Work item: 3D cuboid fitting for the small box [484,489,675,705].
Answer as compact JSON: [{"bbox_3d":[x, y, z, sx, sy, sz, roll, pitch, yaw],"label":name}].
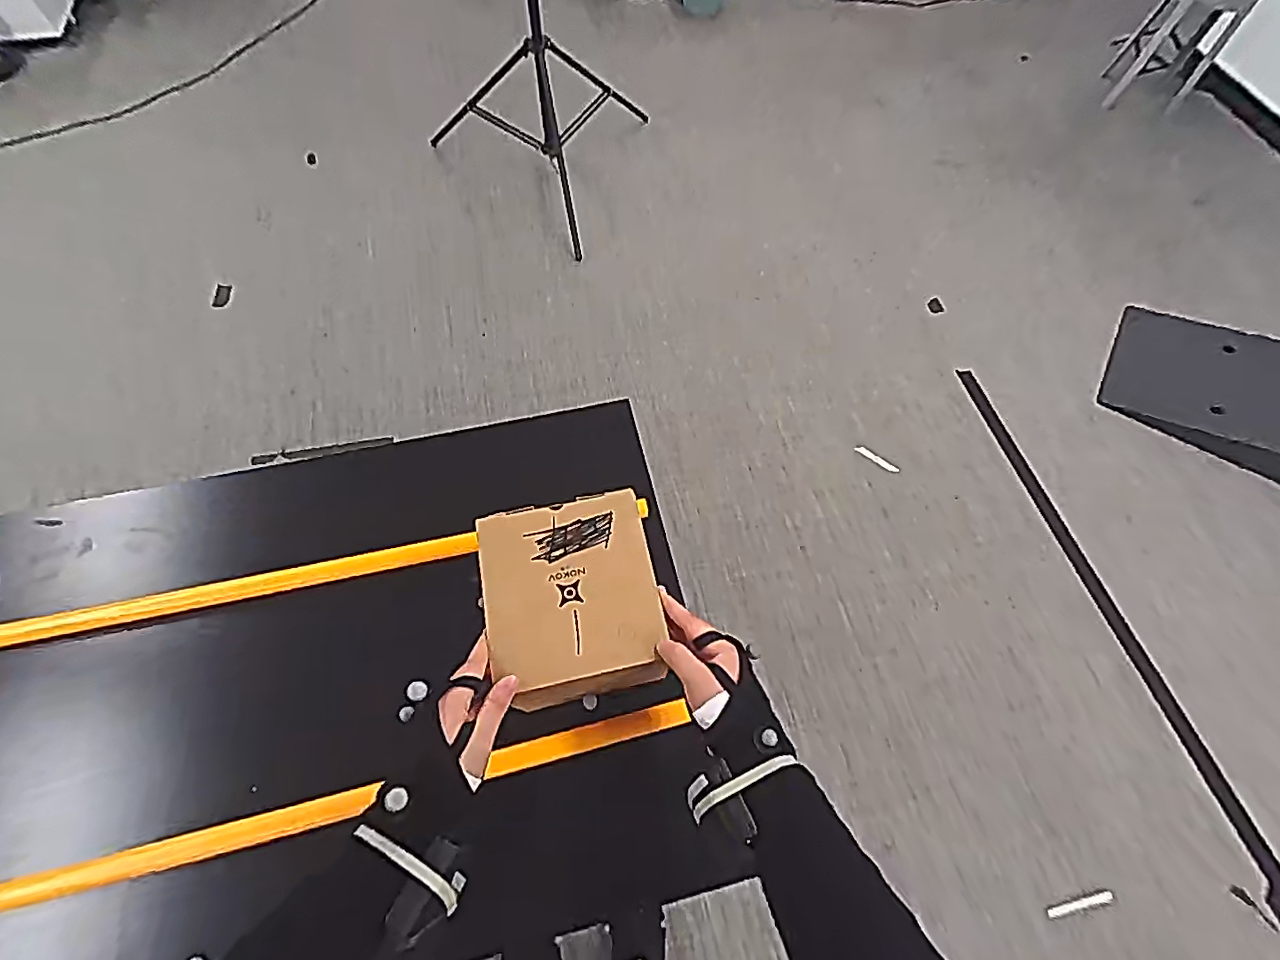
[{"bbox_3d":[-0.065,0.135,0.595,0.168,0.176,0.179,-11,64,-6],"label":"small box"}]
